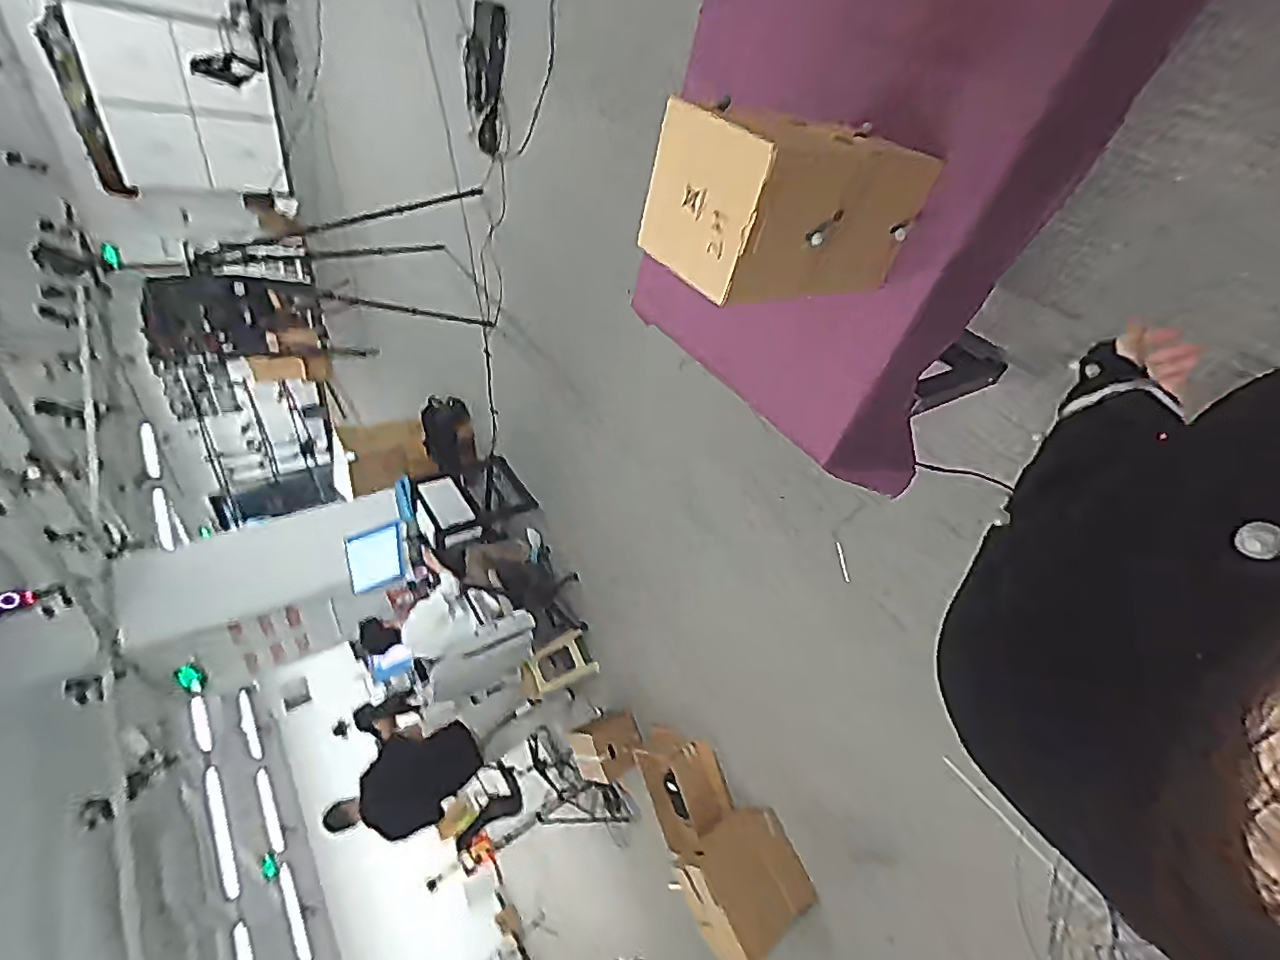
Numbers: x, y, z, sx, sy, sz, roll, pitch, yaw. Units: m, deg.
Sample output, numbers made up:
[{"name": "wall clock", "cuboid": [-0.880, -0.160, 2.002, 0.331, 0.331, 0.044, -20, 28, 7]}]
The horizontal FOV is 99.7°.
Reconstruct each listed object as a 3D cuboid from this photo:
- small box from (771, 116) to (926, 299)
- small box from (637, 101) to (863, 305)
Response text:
[{"name": "small box", "cuboid": [0.260, -0.374, 0.751, 0.168, 0.176, 0.179, 47, 138, 32]}, {"name": "small box", "cuboid": [0.127, -0.334, 0.660, 0.179, 0.176, 0.168, 48, 140, 30]}]
